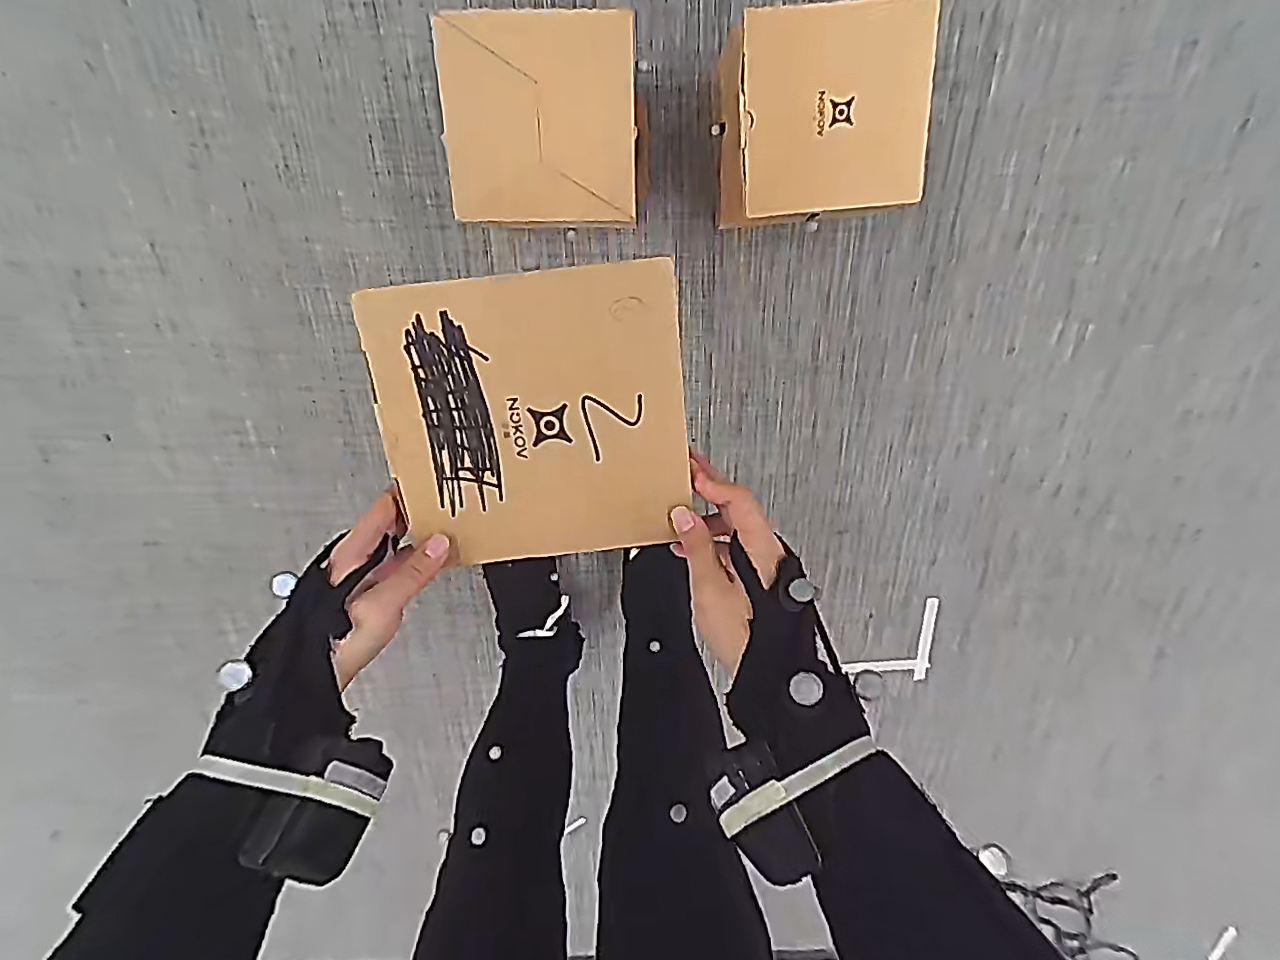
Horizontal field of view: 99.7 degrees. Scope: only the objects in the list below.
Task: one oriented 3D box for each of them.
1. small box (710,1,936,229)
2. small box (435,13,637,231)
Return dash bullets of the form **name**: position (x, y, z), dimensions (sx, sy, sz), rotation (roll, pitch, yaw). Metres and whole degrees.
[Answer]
- **small box**: position (0.177, -0.368, 0.576), dimensions (0.179, 0.176, 0.168), rotation (-6, 112, 0)
- **small box**: position (-0.092, -0.355, 0.568), dimensions (0.179, 0.176, 0.168), rotation (-1, 112, -2)
